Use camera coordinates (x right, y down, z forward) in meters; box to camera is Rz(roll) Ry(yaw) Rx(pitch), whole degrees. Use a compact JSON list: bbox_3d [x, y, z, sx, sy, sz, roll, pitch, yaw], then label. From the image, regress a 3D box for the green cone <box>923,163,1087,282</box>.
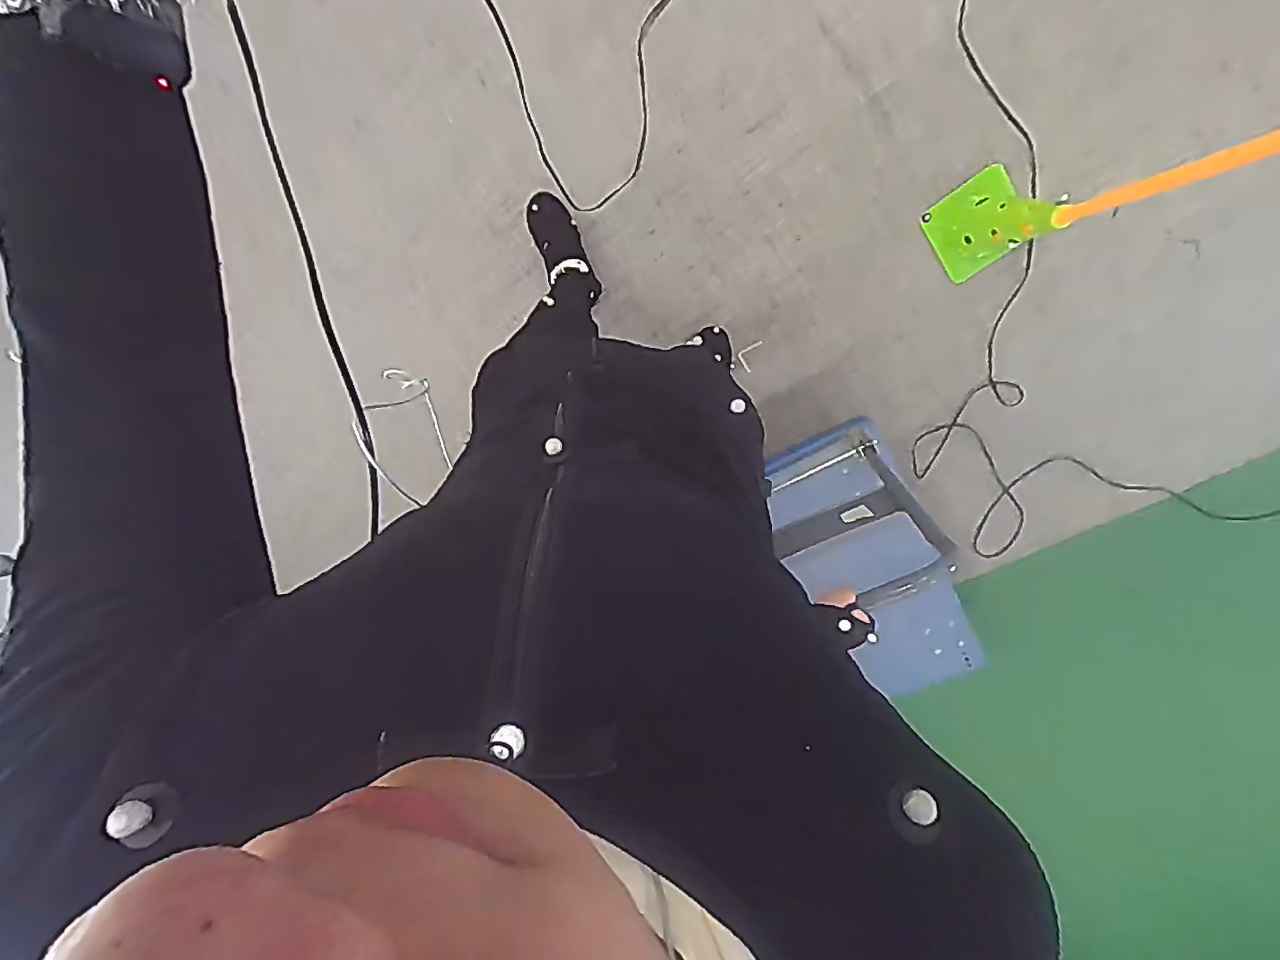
[{"bbox_3d":[0.791,-0.543,1.133,0.202,0.368,0.200,-35,106,18],"label":"green cone"}]
